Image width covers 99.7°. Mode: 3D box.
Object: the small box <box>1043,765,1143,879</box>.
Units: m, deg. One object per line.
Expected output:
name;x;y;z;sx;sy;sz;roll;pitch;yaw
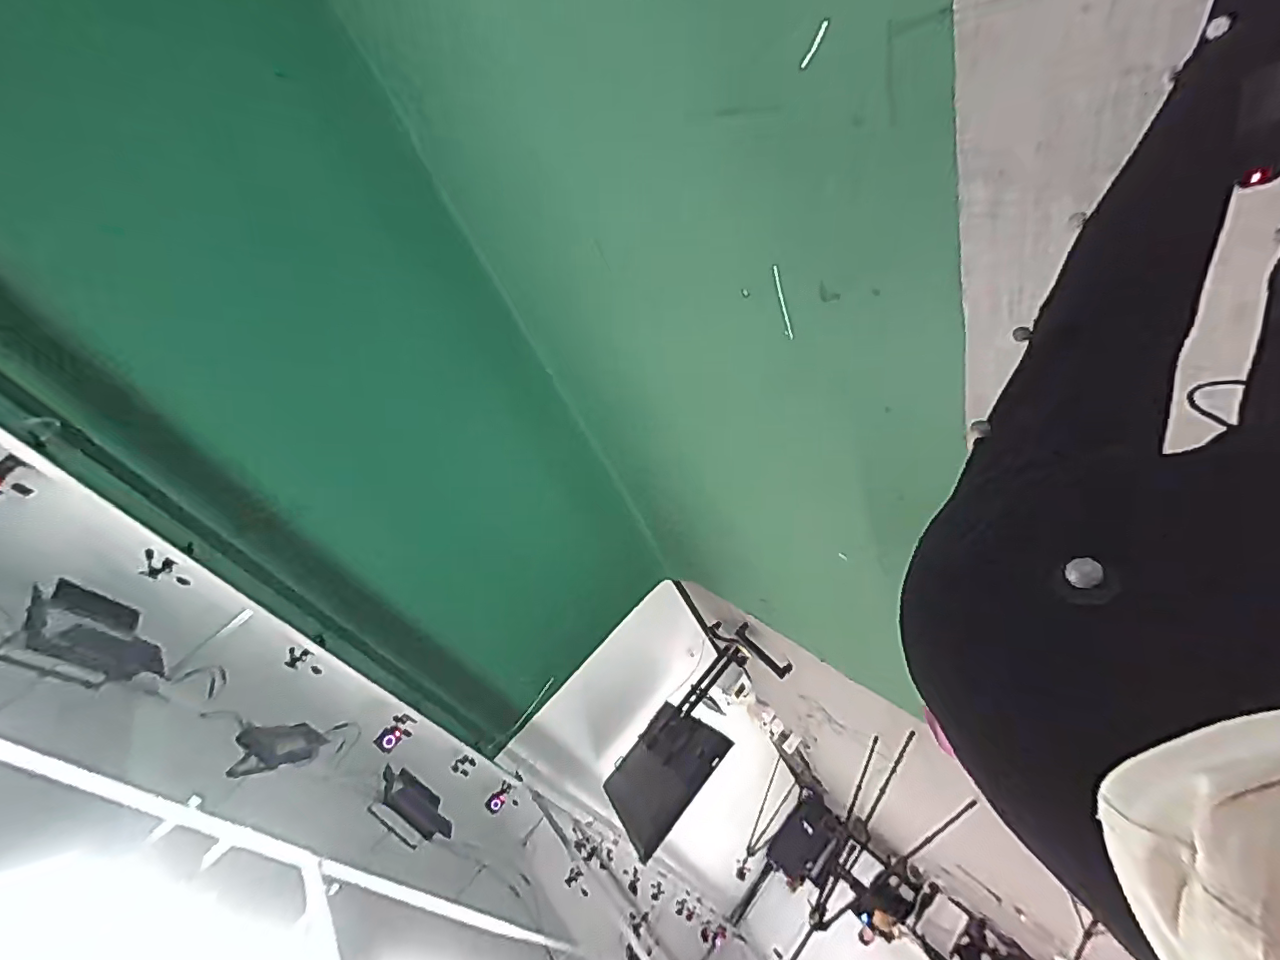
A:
small box;1.216;0.914;1.455;0.168;0.176;0.179;21;149;49

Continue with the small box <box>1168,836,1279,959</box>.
small box;1.381;0.984;1.260;0.168;0.176;0.179;22;150;49
